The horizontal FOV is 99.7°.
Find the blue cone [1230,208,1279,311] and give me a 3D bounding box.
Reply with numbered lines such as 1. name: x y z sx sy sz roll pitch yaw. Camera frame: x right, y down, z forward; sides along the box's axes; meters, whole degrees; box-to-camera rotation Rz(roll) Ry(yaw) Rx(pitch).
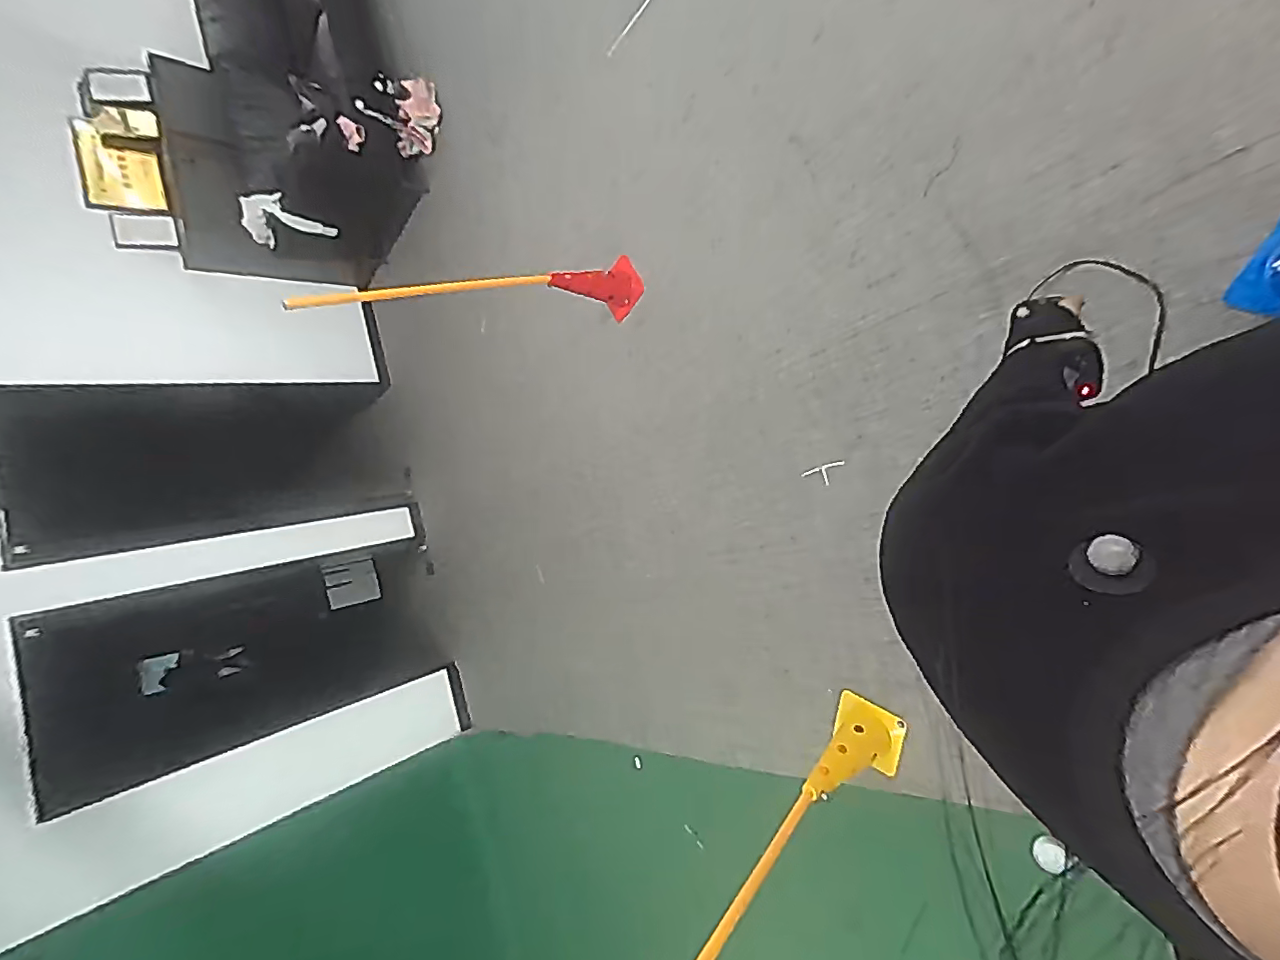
1. blue cone: 1.048 -0.366 0.804 0.192 0.380 0.193 38 121 36
